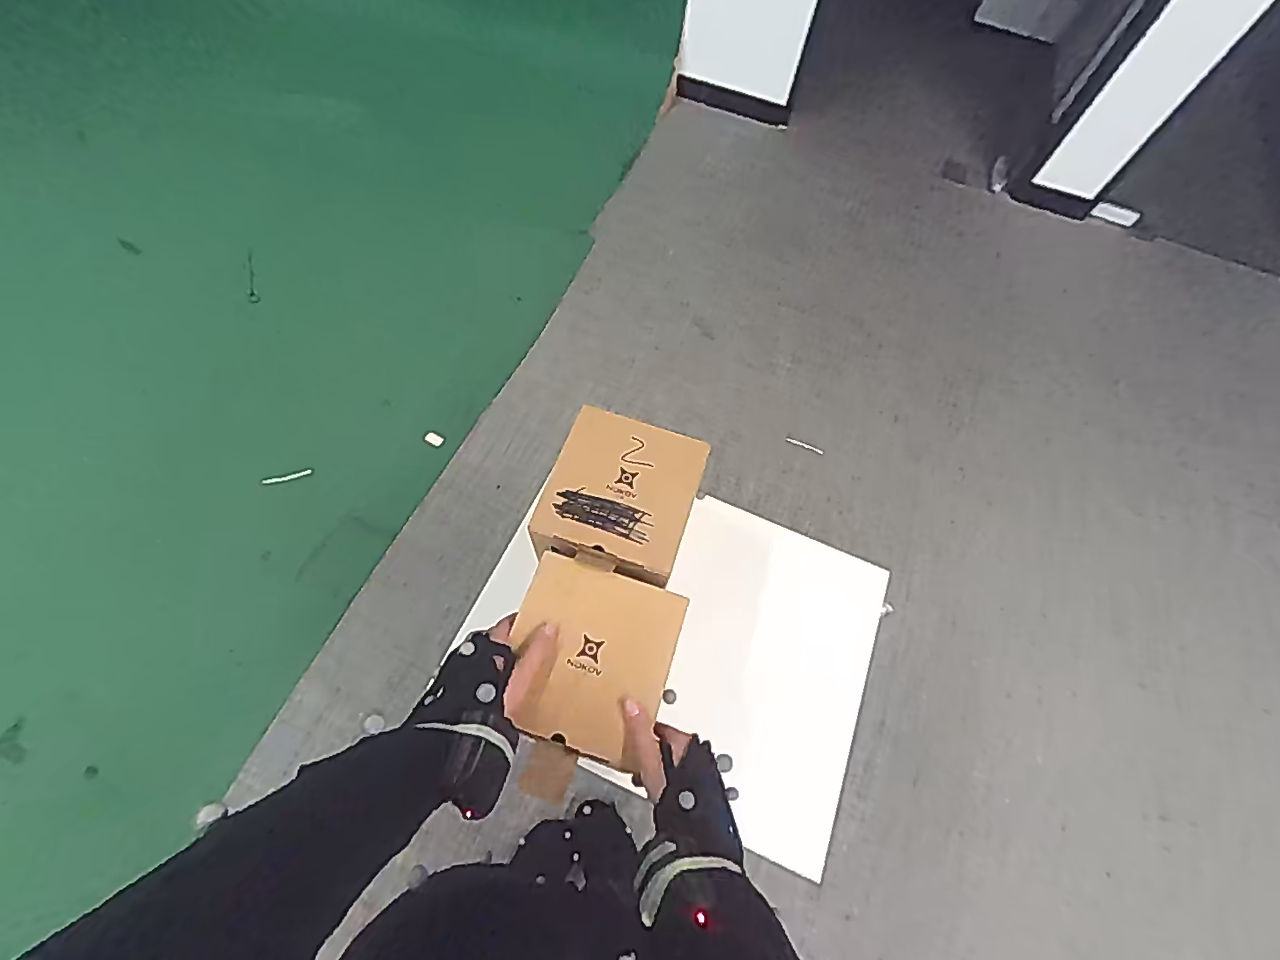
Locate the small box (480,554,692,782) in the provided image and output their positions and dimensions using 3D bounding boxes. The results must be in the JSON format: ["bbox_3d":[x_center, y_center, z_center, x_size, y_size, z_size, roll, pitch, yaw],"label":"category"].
[{"bbox_3d":[-0.057,0.212,0.603,0.168,0.176,0.179,19,63,2],"label":"small box"}]
